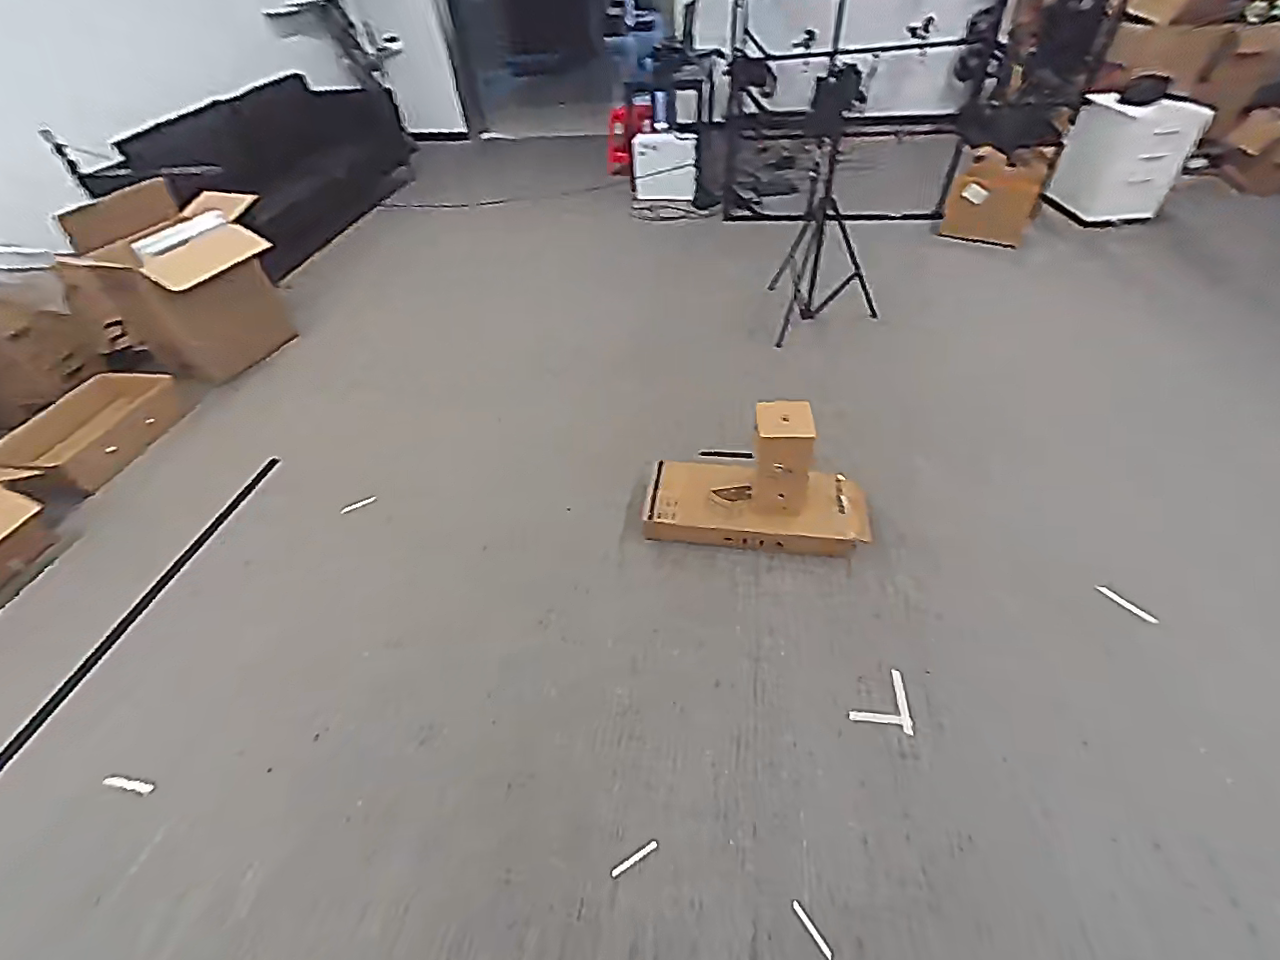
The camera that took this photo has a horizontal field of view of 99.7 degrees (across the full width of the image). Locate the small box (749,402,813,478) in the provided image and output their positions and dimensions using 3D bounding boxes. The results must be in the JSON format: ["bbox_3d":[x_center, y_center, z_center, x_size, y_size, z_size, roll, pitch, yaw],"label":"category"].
[{"bbox_3d":[0.437,-0.126,1.702,0.168,0.176,0.179,0,46,6],"label":"small box"}]

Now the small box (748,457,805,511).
[{"bbox_3d":[0.456,-0.011,1.817,0.168,0.176,0.179,2,46,7],"label":"small box"}]
